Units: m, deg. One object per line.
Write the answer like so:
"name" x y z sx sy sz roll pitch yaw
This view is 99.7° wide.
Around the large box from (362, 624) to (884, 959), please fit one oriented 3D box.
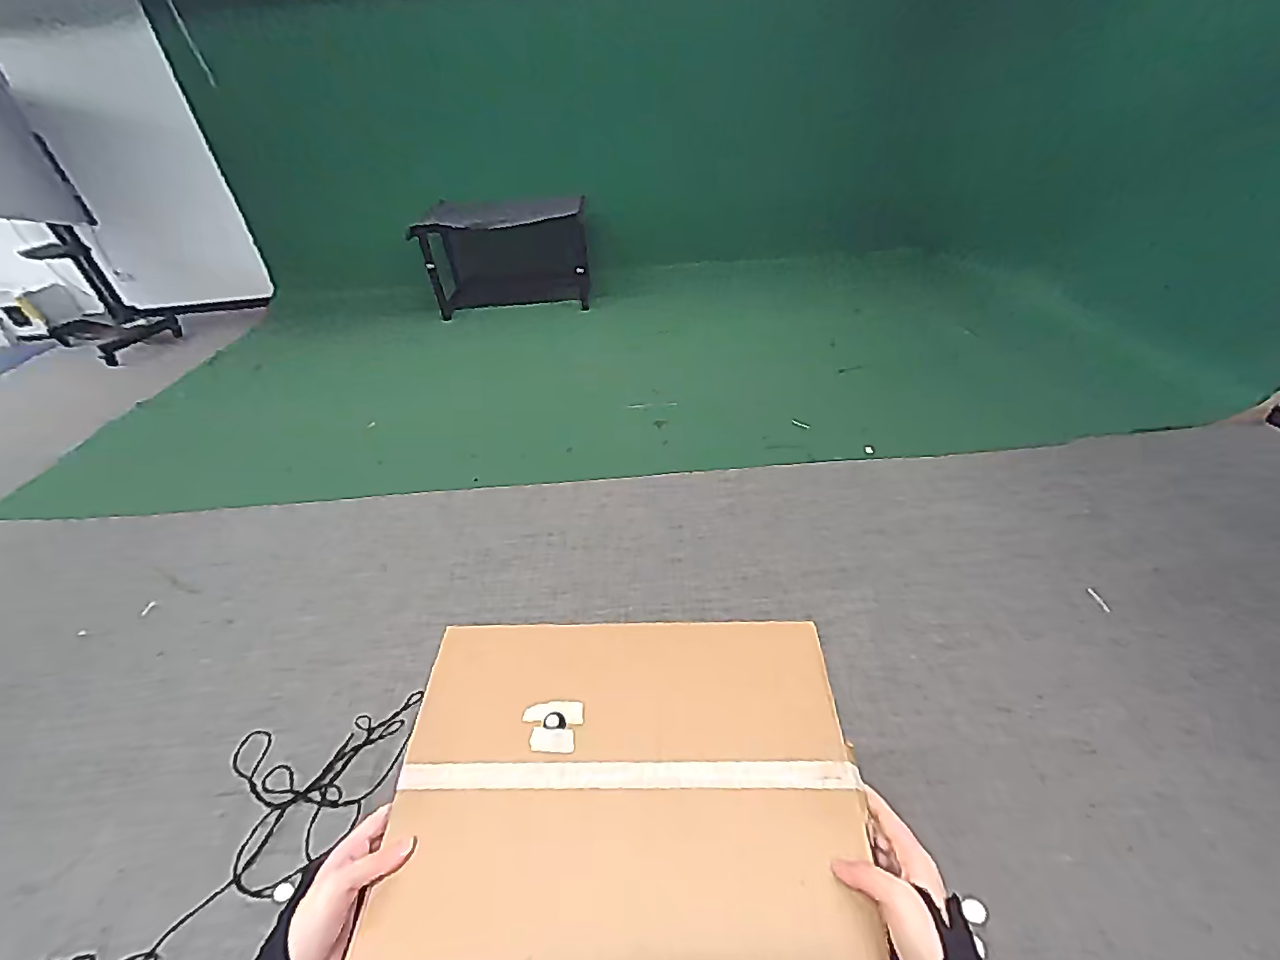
"large box" -0.004 0.382 0.597 0.408 0.320 0.320 -3 43 4
